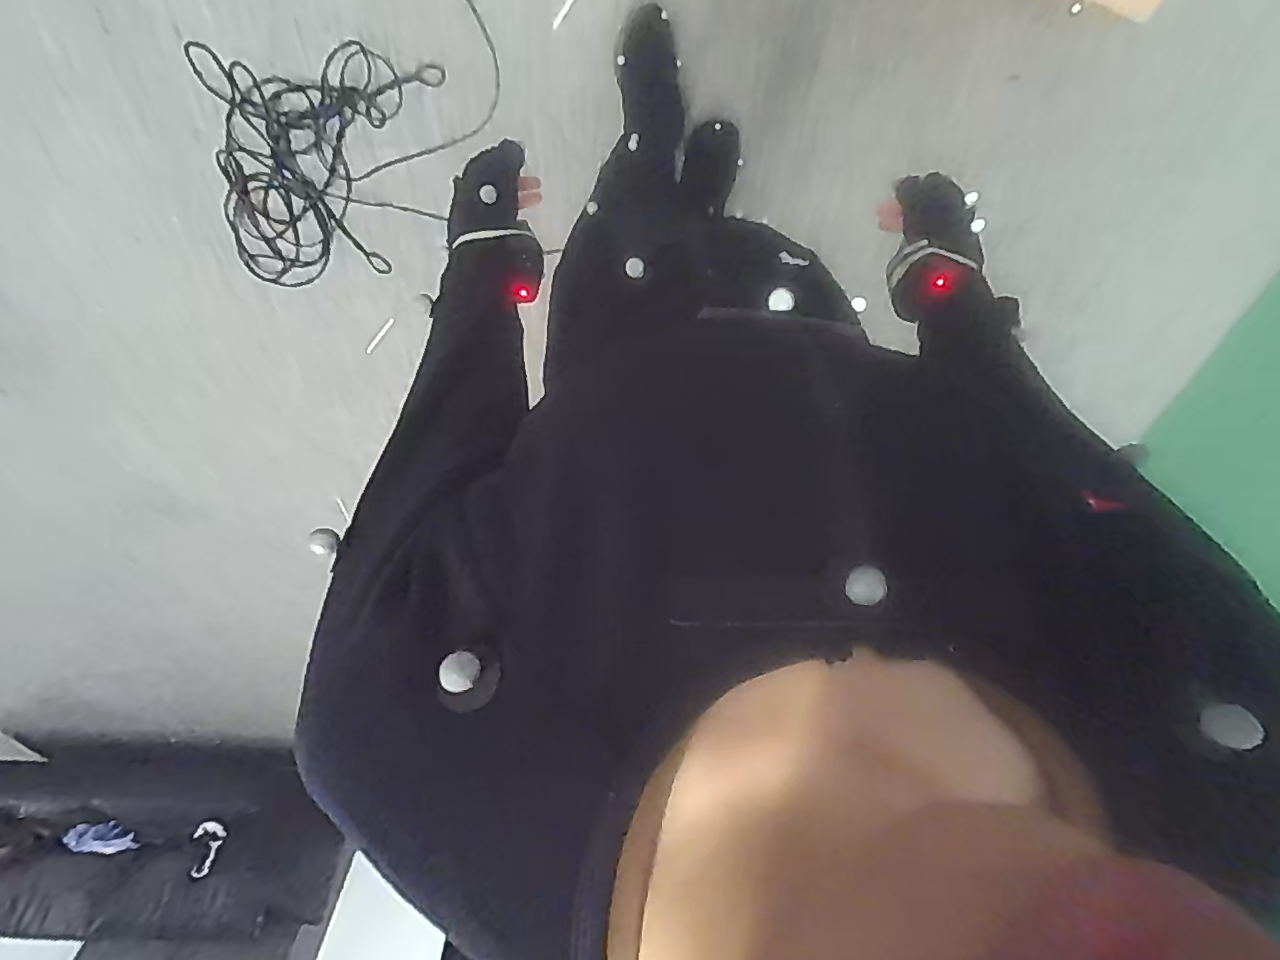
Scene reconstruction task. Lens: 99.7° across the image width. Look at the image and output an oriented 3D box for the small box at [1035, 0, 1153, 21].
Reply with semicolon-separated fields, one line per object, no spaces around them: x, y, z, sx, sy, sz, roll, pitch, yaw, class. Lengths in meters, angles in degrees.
0.763;-0.885;0.886;0.179;0.176;0.168;13;130;-10;small box
